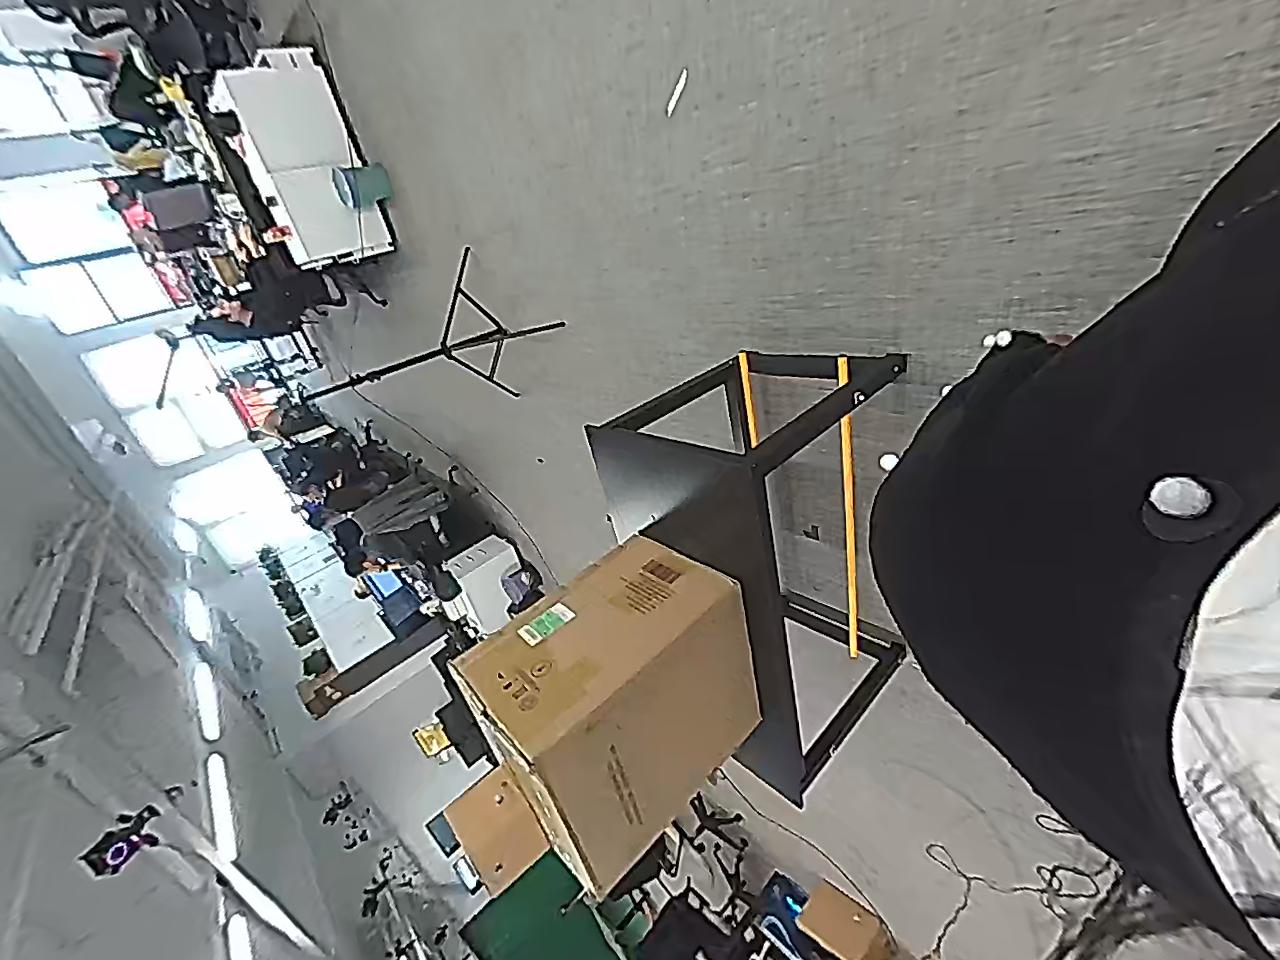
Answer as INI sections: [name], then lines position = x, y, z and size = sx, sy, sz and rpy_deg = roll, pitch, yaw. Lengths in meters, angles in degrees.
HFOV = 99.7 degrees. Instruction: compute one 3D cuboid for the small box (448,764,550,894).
[small box]
position = -0.347, 0.865, 1.354
size = 0.168, 0.176, 0.179
rpy_deg = 21, 132, 48
